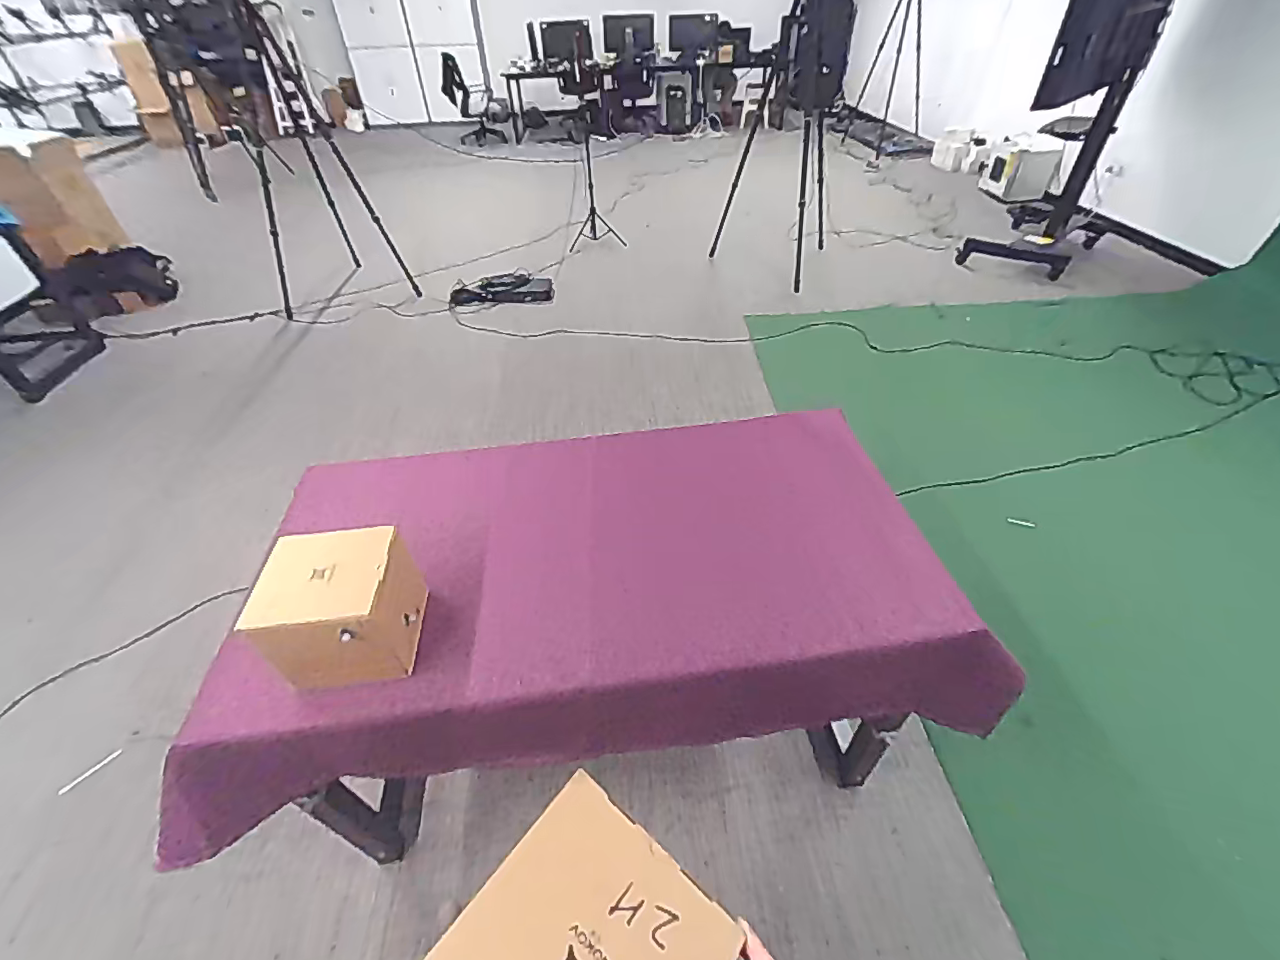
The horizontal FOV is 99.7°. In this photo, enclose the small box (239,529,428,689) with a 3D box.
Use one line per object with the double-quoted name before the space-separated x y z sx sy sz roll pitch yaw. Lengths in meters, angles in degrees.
"small box" -0.443 0.197 0.817 0.179 0.176 0.168 -5 42 -5
